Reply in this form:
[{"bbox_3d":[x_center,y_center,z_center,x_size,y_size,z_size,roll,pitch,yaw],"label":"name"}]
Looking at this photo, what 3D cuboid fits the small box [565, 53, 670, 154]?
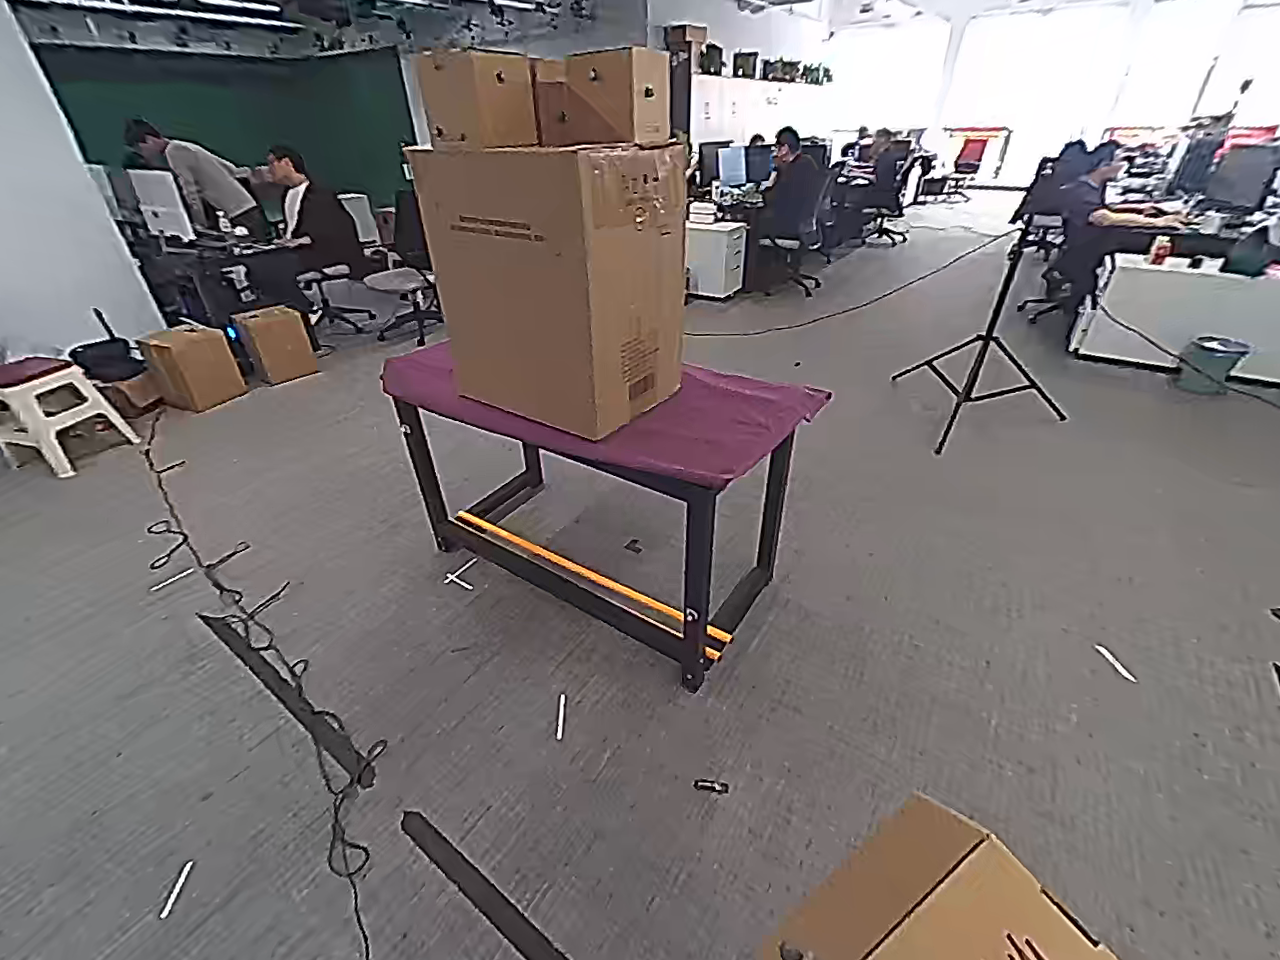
[{"bbox_3d":[-0.042,-0.841,1.215,0.179,0.176,0.168,15,37,27],"label":"small box"}]
